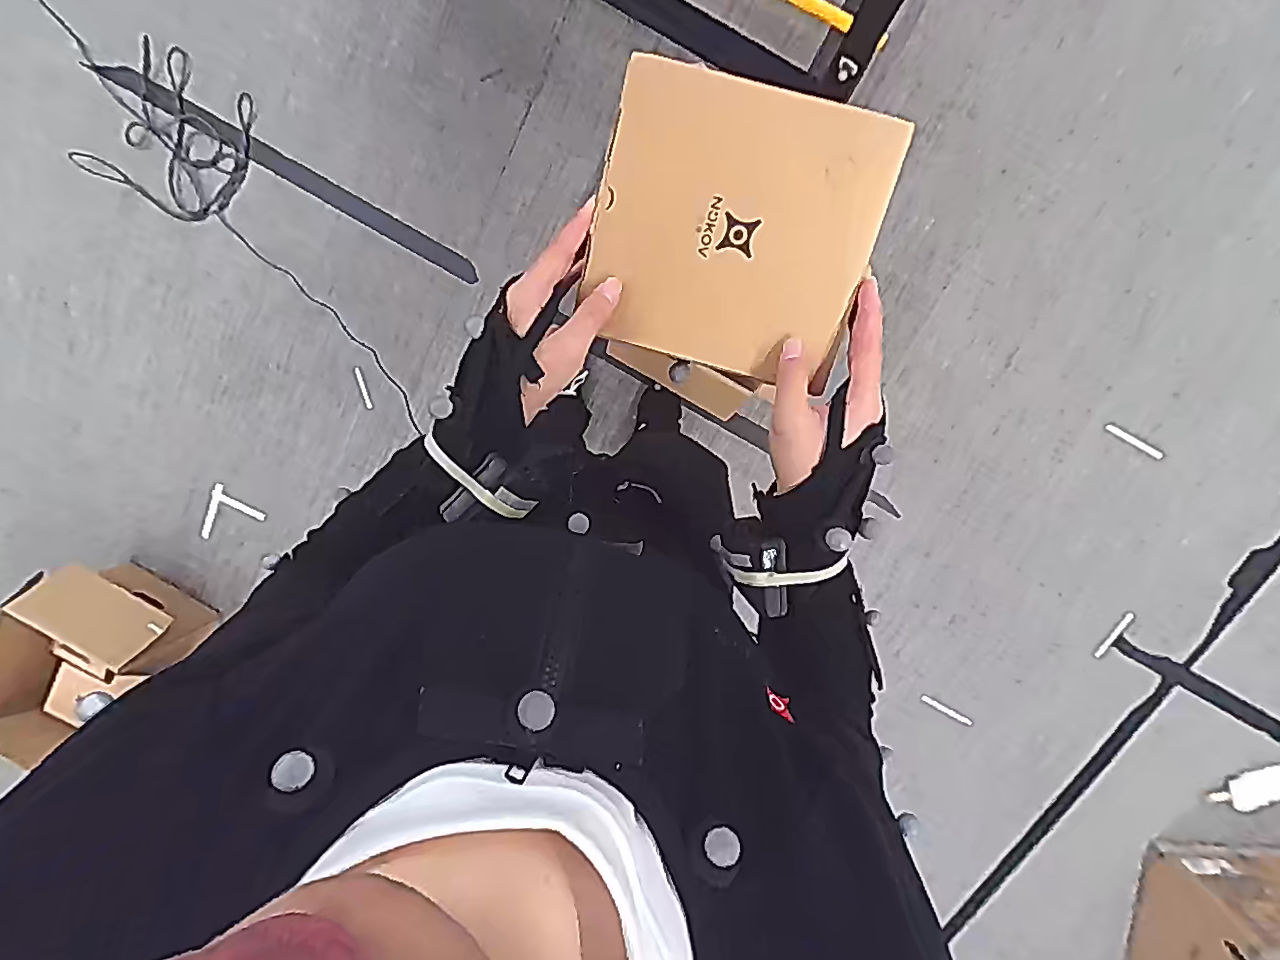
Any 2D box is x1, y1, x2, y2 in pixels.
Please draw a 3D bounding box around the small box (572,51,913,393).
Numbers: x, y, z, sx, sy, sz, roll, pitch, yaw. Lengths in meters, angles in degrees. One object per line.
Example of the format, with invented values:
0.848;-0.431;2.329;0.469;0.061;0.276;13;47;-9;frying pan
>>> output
0.065;-0.175;0.415;0.179;0.176;0.168;16;104;2;small box
